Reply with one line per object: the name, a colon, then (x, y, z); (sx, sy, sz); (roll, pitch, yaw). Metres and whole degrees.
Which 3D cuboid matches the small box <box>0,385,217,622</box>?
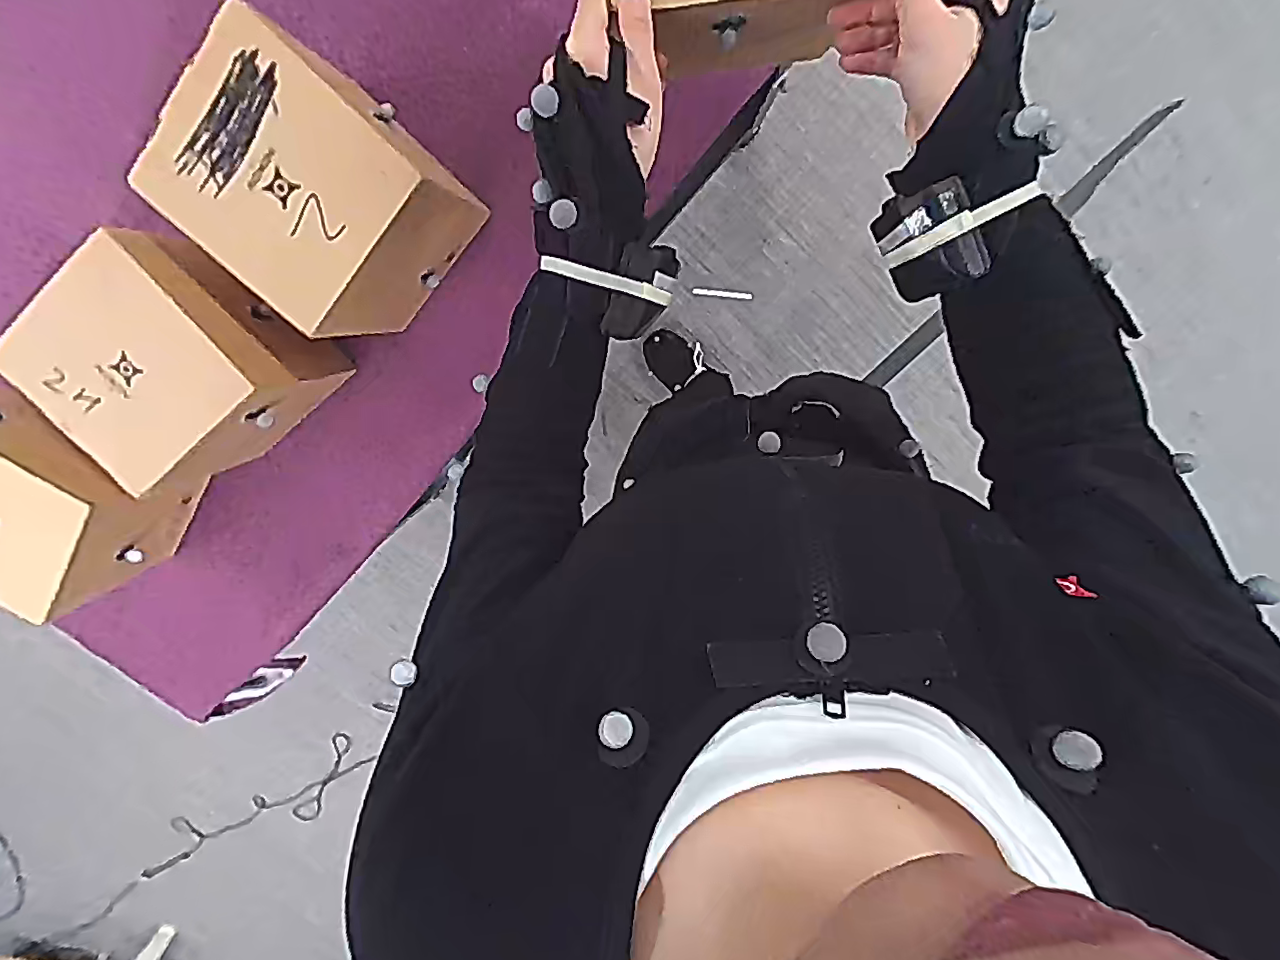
small box: (-0.626, 0.013, 0.594); (0.179, 0.176, 0.168); (34, 106, -9)
